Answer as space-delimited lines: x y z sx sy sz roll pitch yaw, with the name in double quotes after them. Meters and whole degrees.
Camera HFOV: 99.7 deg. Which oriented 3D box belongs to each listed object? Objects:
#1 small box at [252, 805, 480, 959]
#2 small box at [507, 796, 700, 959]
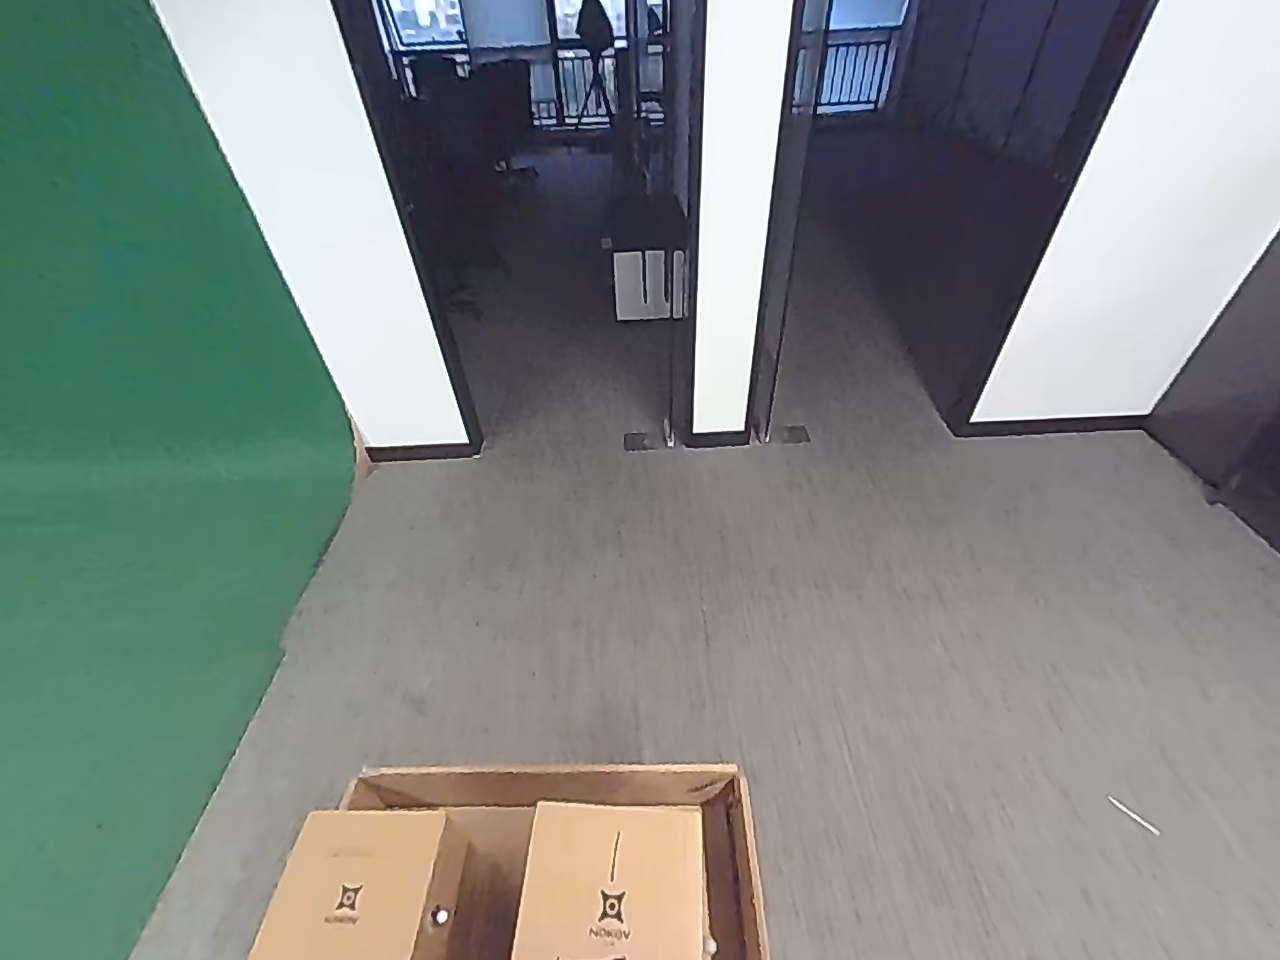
-0.301 0.504 0.631 0.168 0.176 0.179 -1 42 3 "small box"
-0.024 0.436 0.539 0.168 0.176 0.179 1 49 5 "small box"
